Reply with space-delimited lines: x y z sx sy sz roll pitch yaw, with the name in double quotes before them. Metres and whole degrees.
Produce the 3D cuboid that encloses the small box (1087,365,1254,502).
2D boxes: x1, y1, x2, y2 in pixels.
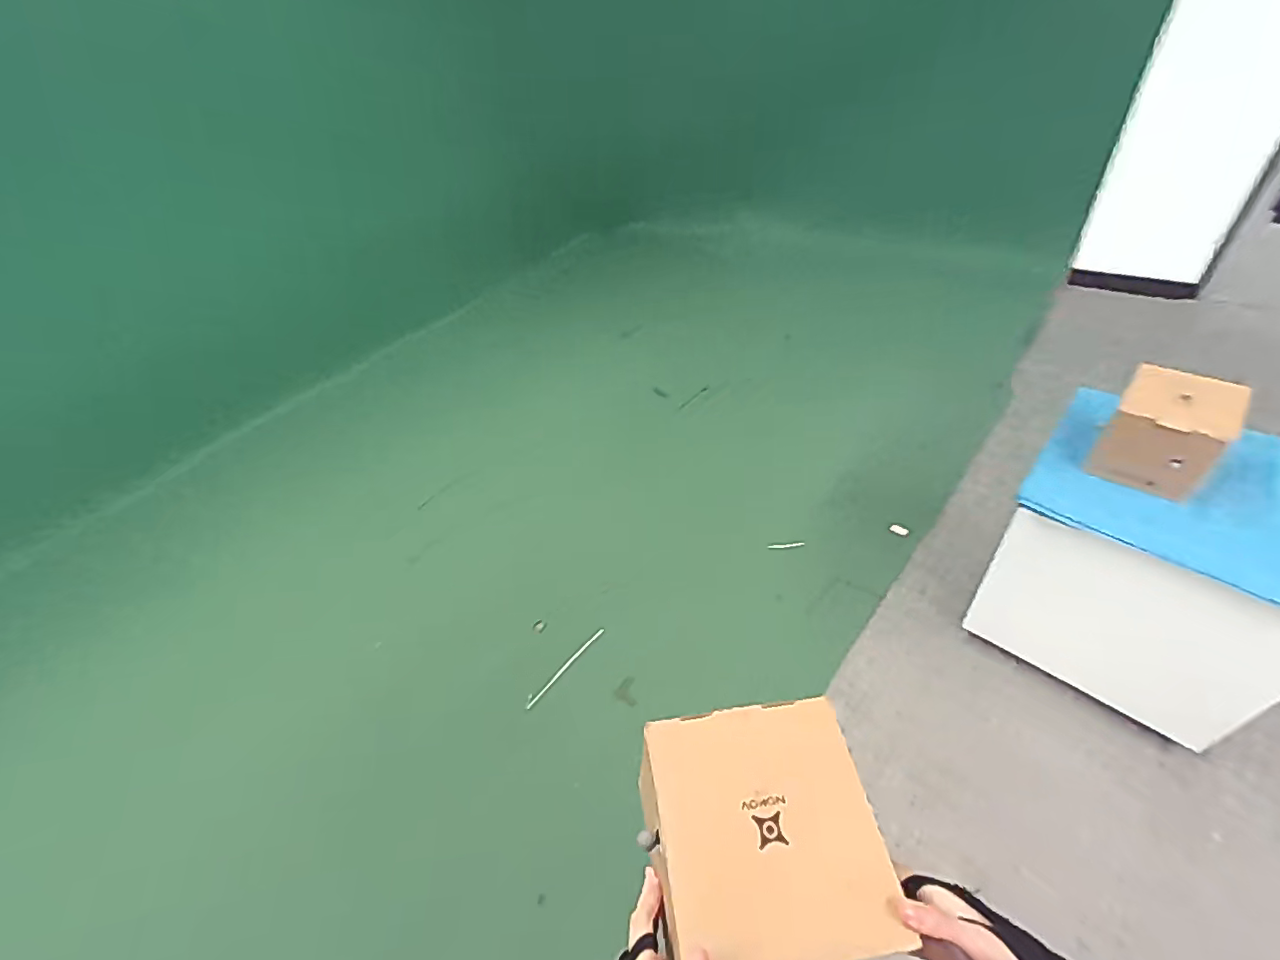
"small box" 1.009 -0.088 1.043 0.168 0.176 0.179 30 58 34
